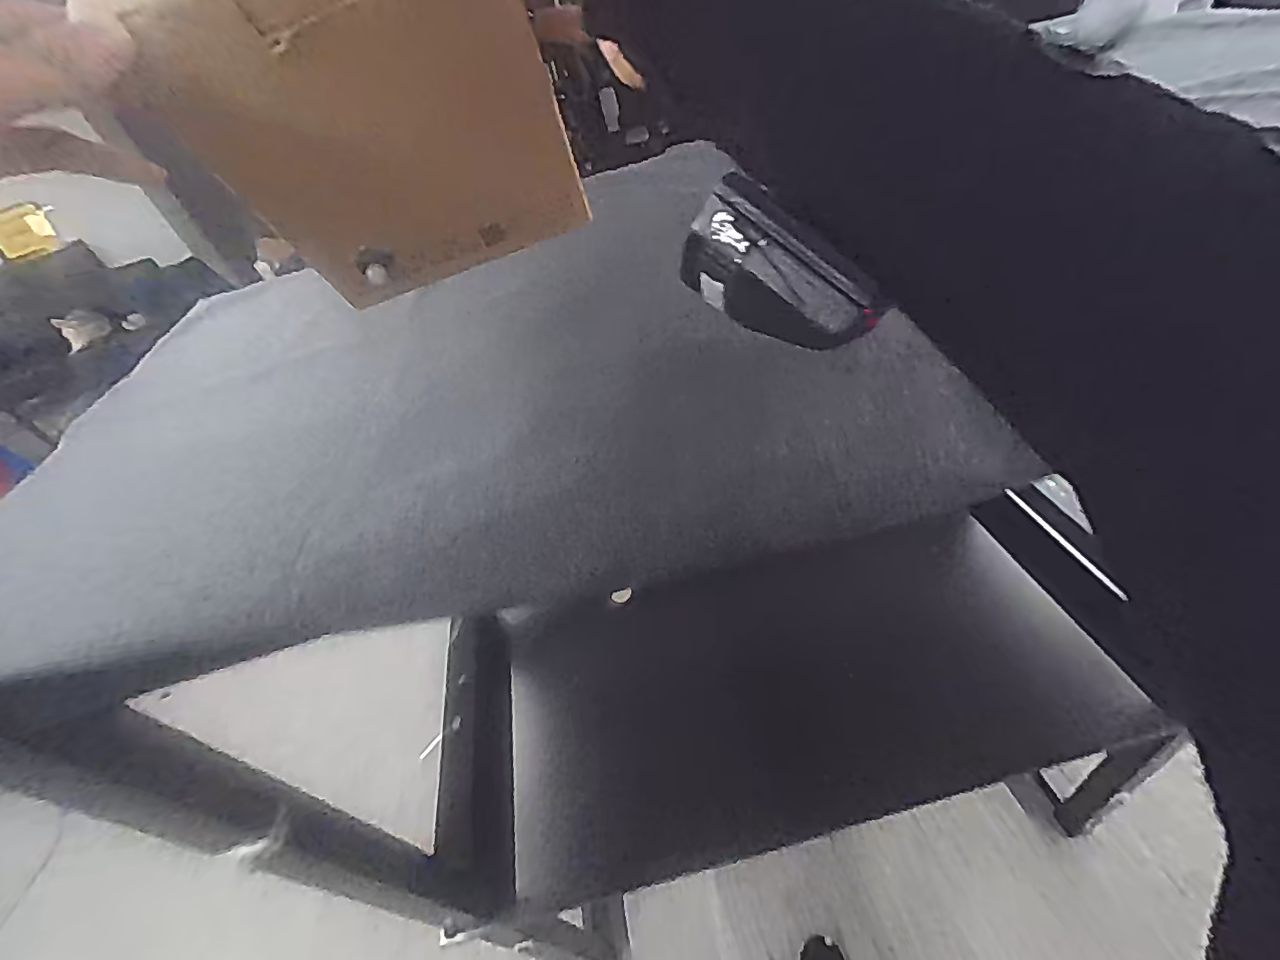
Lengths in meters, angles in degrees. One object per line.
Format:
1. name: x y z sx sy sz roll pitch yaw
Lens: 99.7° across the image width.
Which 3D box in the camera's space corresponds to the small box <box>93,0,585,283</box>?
1. small box: -0.144 -0.241 0.308 0.168 0.176 0.179 -20 68 3
